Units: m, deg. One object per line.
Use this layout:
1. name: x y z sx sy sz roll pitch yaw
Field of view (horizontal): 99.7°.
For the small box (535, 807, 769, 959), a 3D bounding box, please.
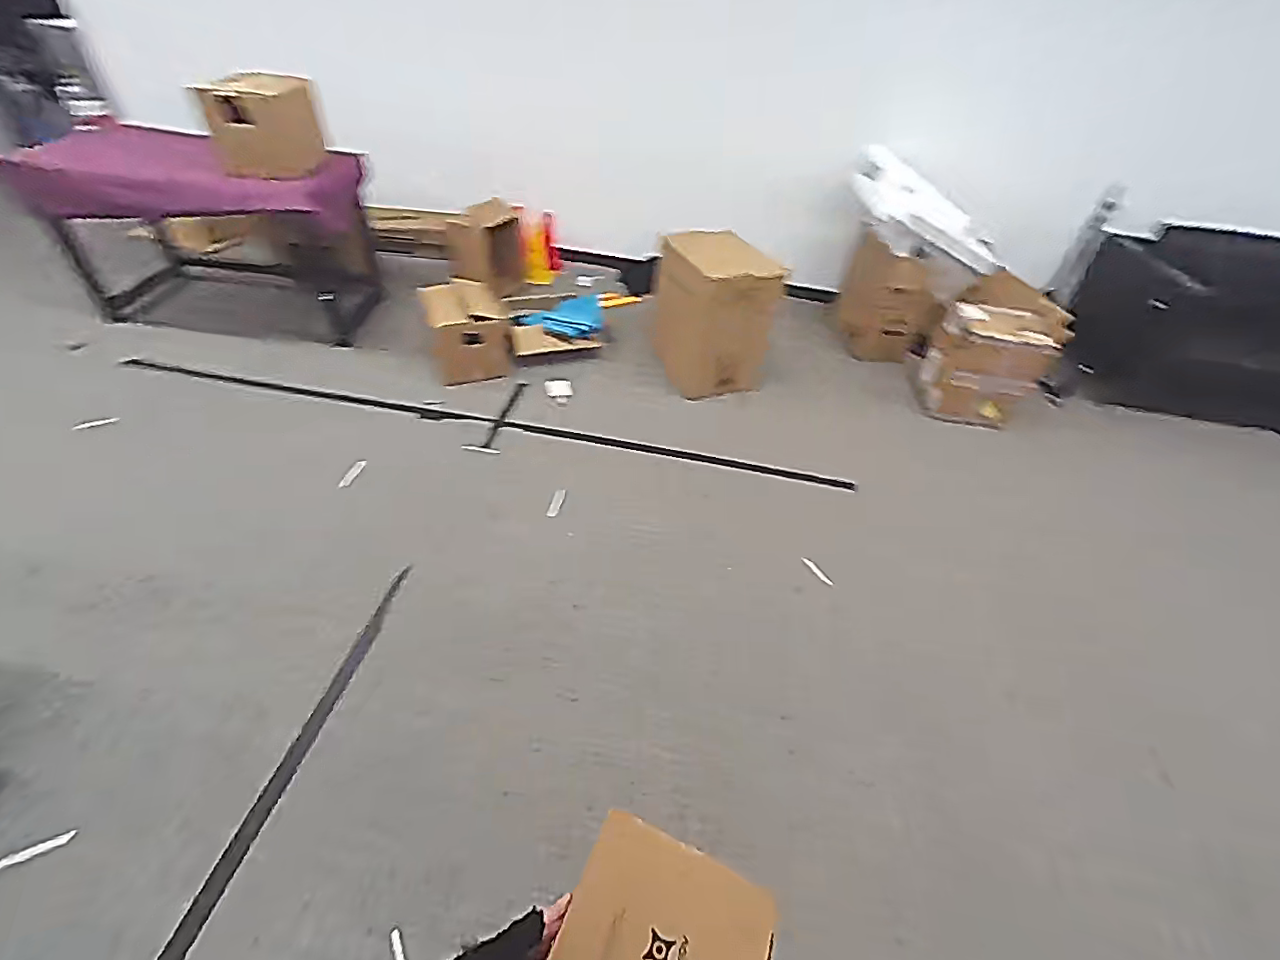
1. small box: -0.001 0.452 0.504 0.179 0.176 0.168 20 41 11
